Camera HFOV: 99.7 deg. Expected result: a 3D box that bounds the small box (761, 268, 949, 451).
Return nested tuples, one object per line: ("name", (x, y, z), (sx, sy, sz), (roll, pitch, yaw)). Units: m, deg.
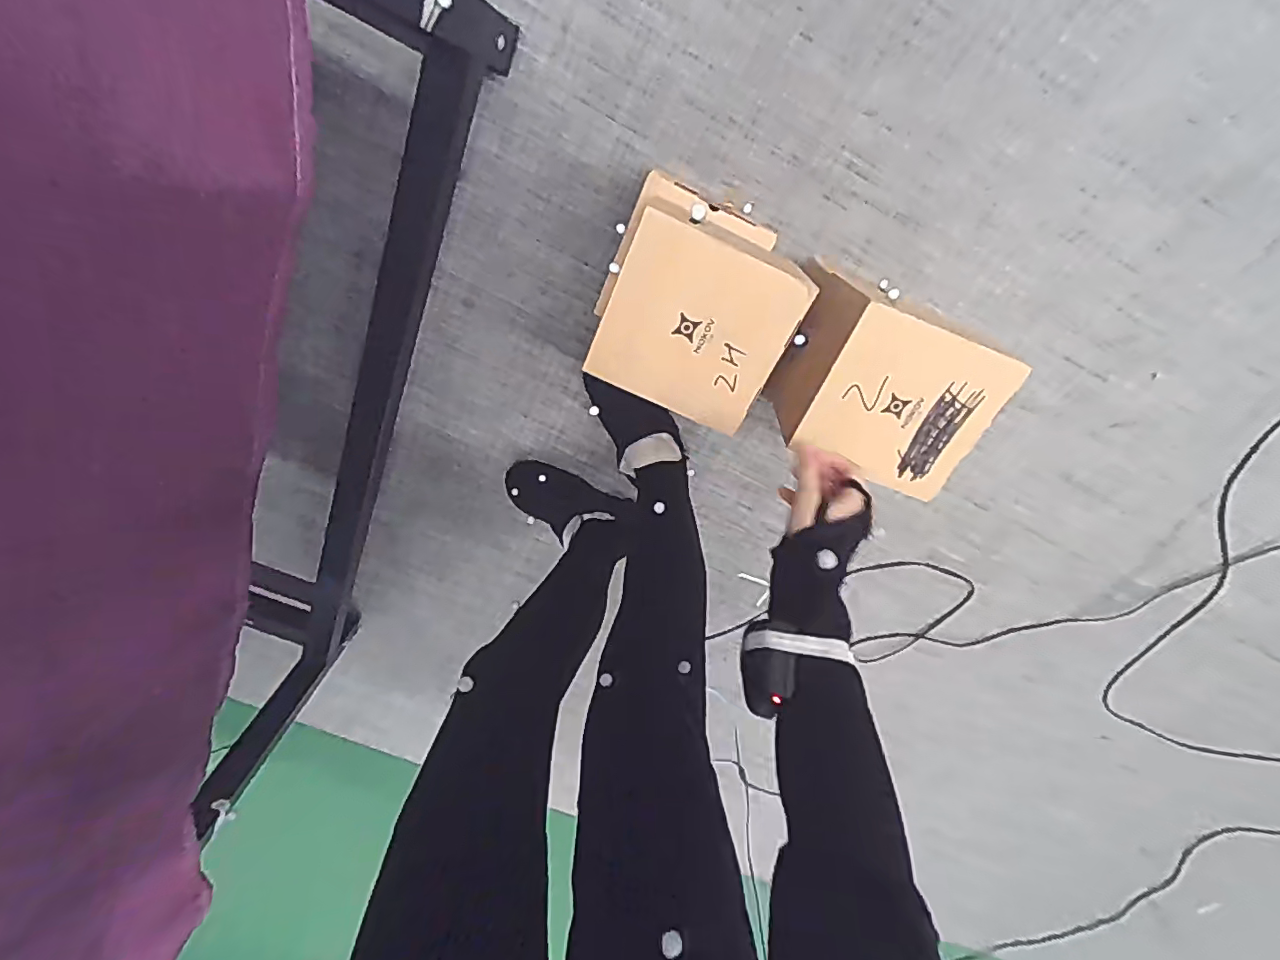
("small box", (0.284, -0.175, 0.764), (0.168, 0.176, 0.179), (20, 119, -6))
